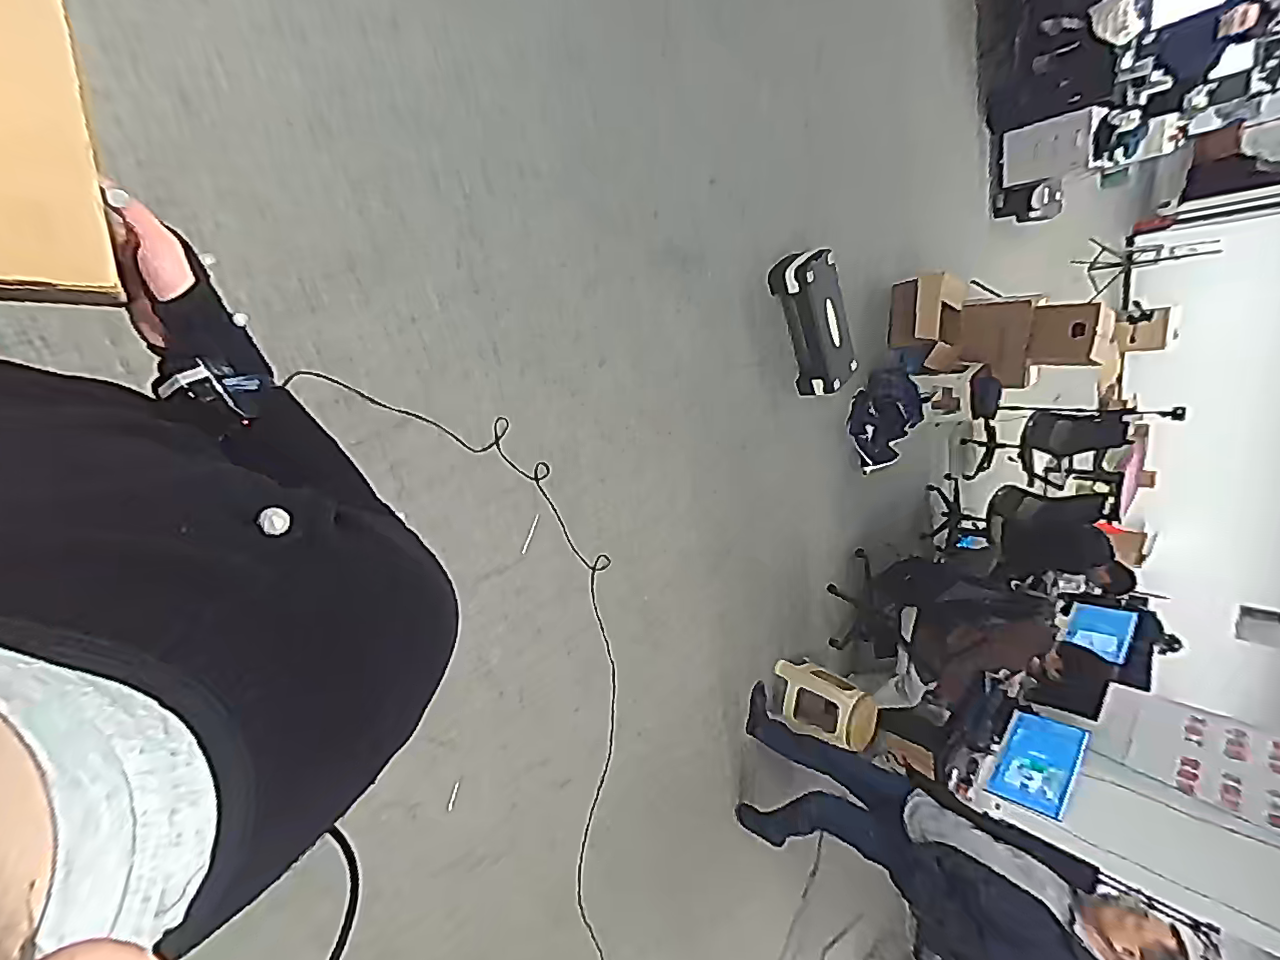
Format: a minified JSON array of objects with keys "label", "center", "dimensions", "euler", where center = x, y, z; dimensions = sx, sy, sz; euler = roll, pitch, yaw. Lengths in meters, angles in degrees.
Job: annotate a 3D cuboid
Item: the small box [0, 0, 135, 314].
[{"label":"small box","center":[-0.448,-0.202,0.344],"dimensions":[0.168,0.176,0.179],"euler":[-12,107,-40]}]
